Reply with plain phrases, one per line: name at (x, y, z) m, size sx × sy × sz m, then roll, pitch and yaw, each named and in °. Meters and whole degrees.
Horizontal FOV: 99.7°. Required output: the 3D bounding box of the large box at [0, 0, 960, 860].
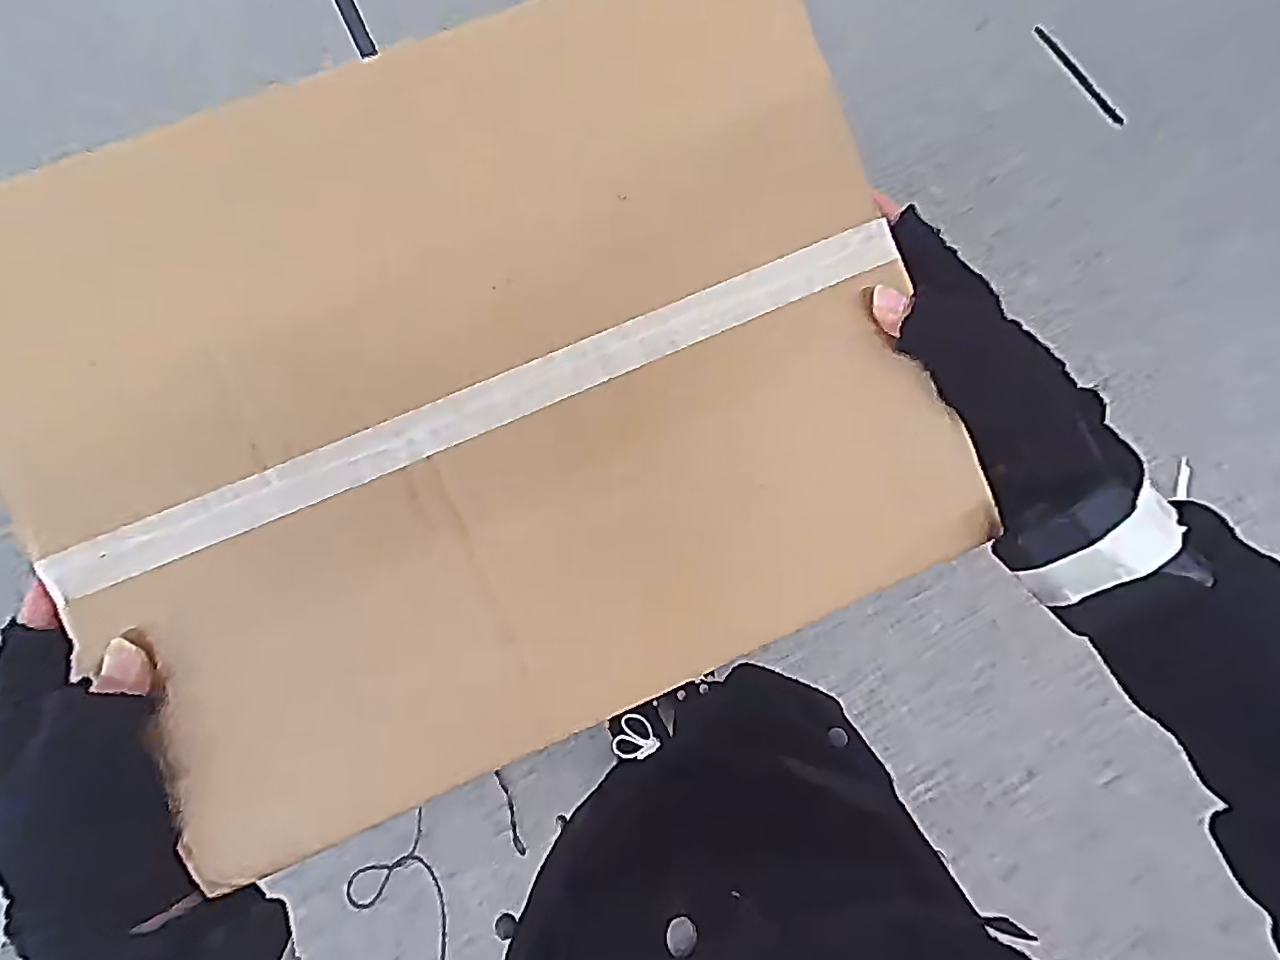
large box at (-0.080, -0.044, 0.406) m, size 0.408 × 0.320 × 0.320 m, roll -23°, pitch 93°, yaw -5°
